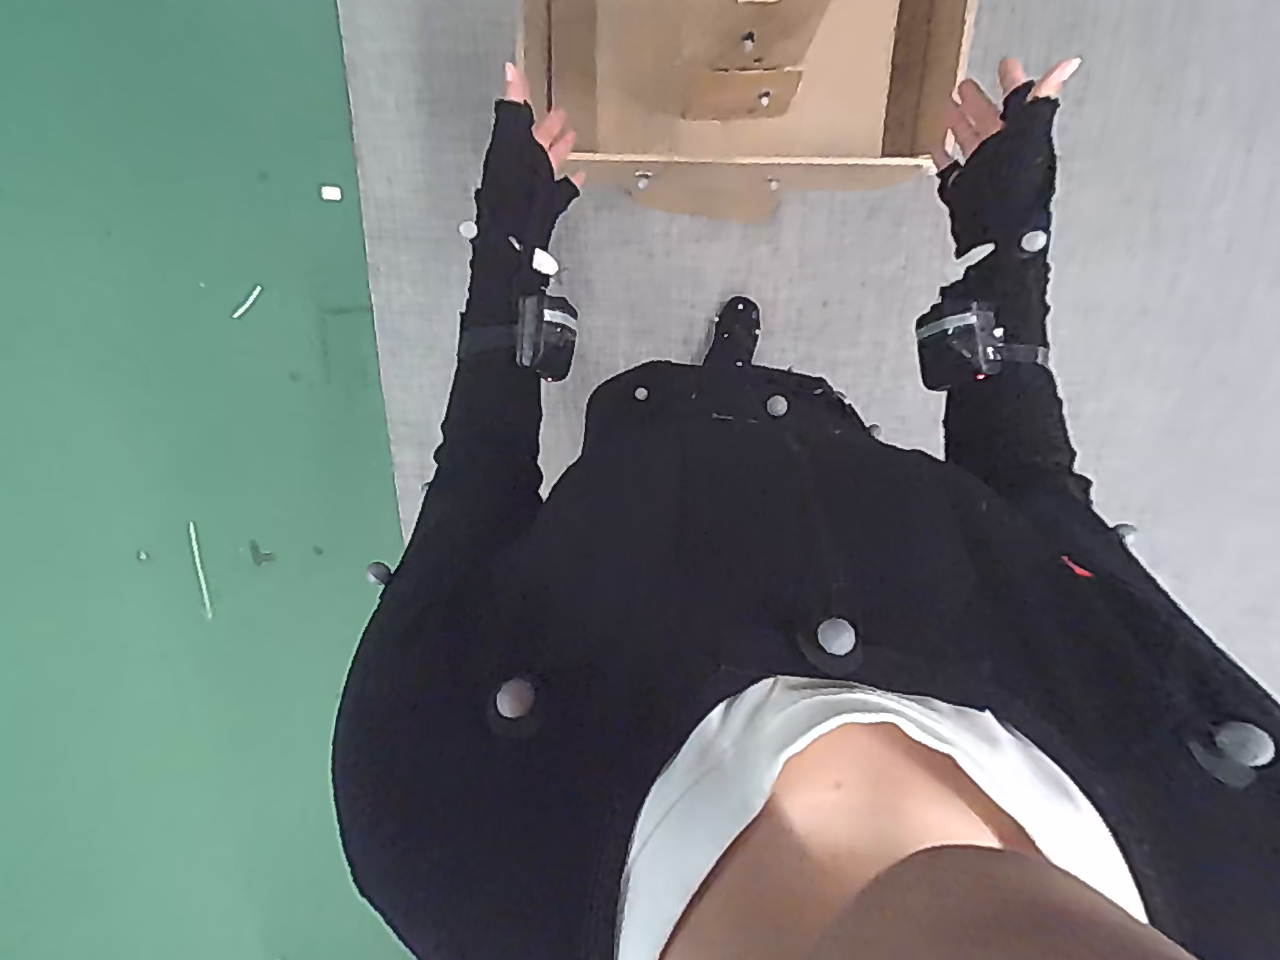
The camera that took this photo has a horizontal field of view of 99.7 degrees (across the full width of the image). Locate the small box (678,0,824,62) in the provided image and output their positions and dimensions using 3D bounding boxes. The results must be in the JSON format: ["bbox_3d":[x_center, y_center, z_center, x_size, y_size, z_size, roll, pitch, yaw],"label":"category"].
[{"bbox_3d":[0.129,-0.618,0.627,0.168,0.176,0.179,1,106,3],"label":"small box"}]

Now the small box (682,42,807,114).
[{"bbox_3d":[0.147,-0.657,0.785,0.168,0.176,0.179,1,103,3],"label":"small box"}]
